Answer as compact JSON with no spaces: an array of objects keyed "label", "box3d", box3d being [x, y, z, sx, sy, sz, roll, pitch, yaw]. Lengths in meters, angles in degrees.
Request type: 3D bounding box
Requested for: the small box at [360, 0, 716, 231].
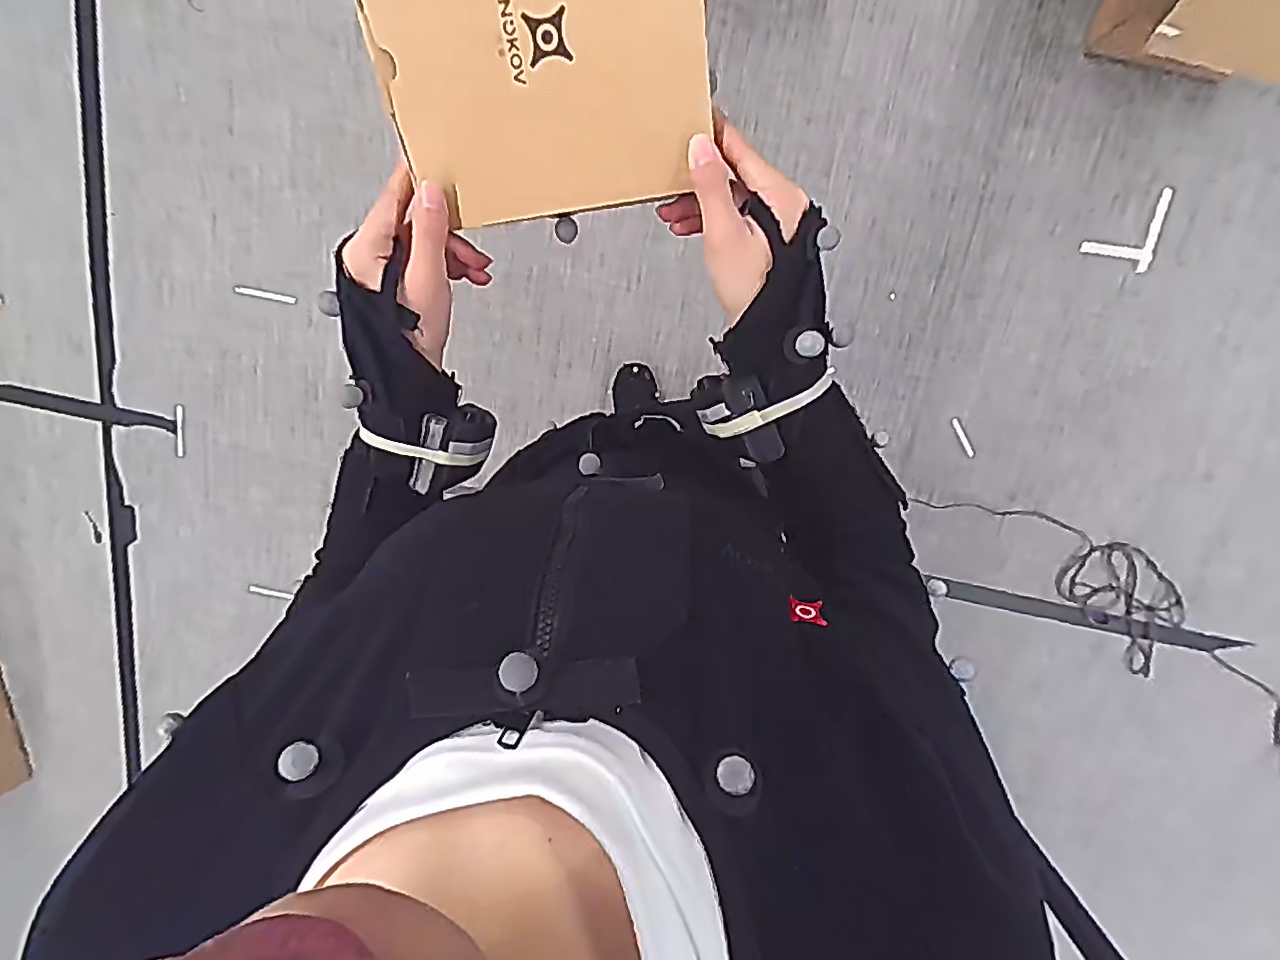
[{"label":"small box","box3d":[-0.054,-0.267,0.351,0.179,0.176,0.168,-8,117,3]}]
